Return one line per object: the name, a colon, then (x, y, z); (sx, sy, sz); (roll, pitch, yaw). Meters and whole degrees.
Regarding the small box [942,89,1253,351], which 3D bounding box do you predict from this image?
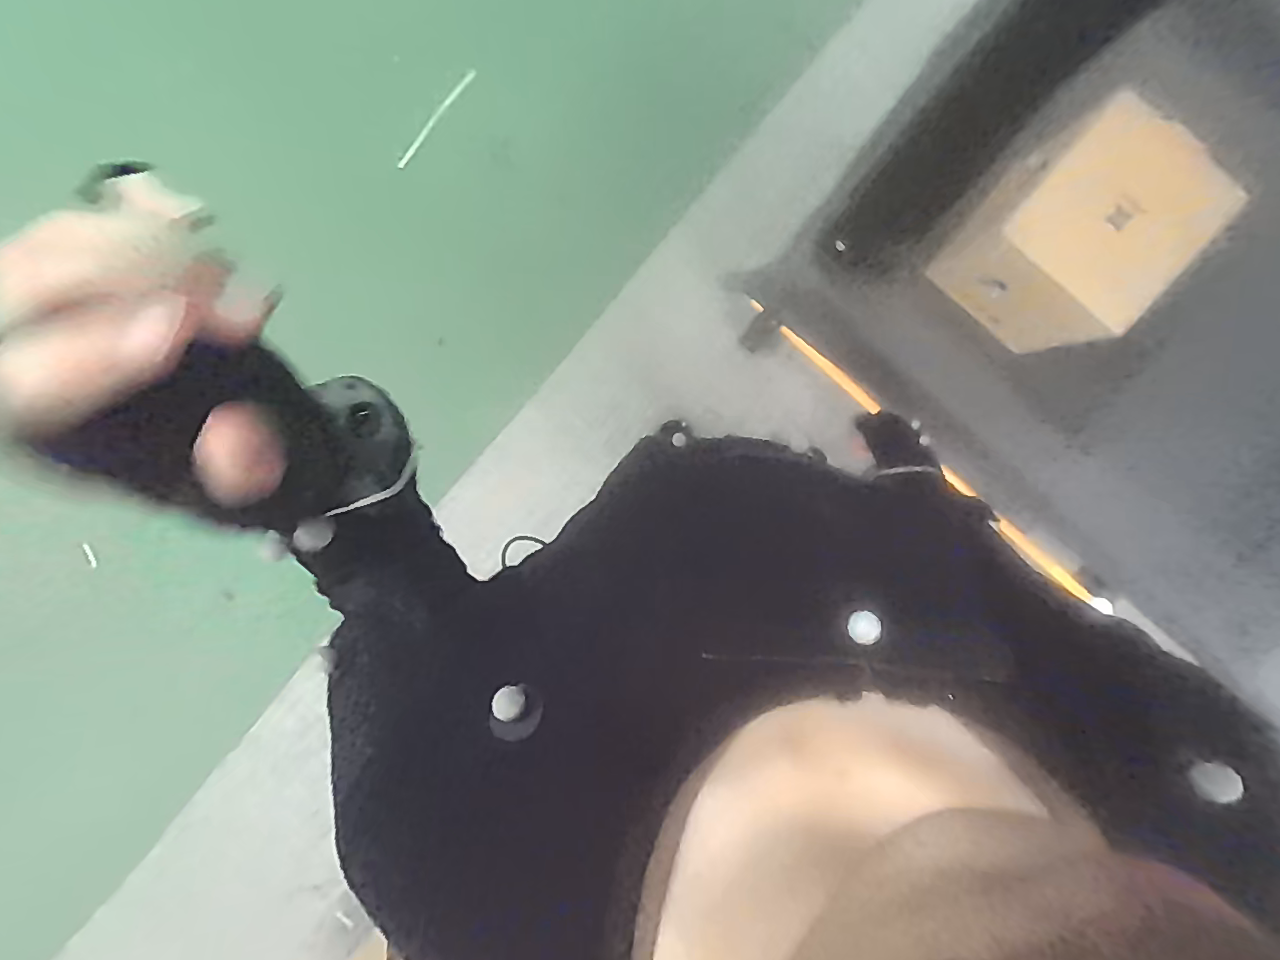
small box: (0.481, -0.267, 0.609); (0.168, 0.176, 0.179); (40, 96, -1)
